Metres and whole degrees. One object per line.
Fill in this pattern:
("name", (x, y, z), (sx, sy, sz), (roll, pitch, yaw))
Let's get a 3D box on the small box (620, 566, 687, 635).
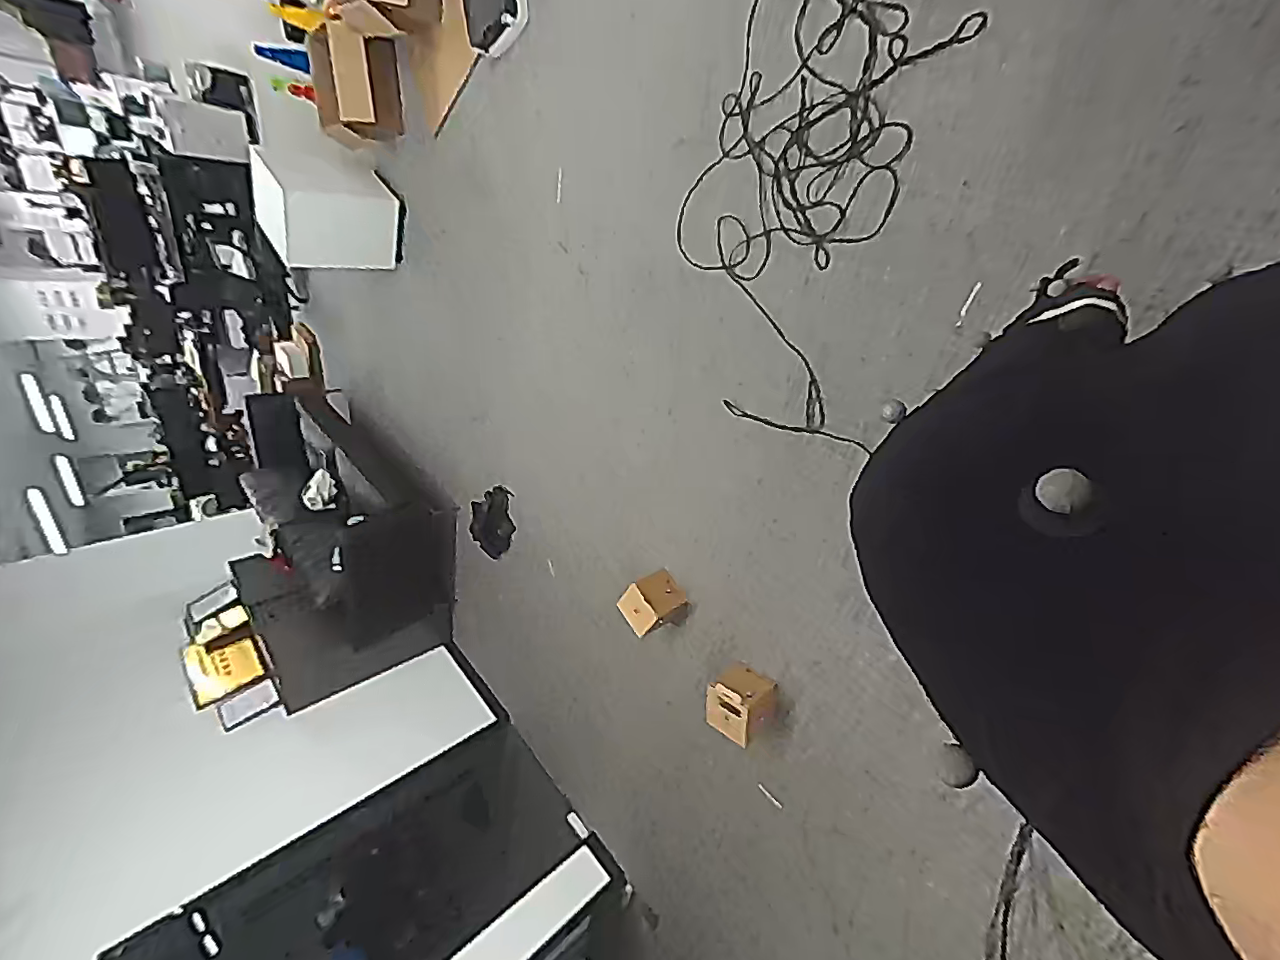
("small box", (0.055, 0.466, 2.104), (0.168, 0.176, 0.179), (52, 135, 22))
